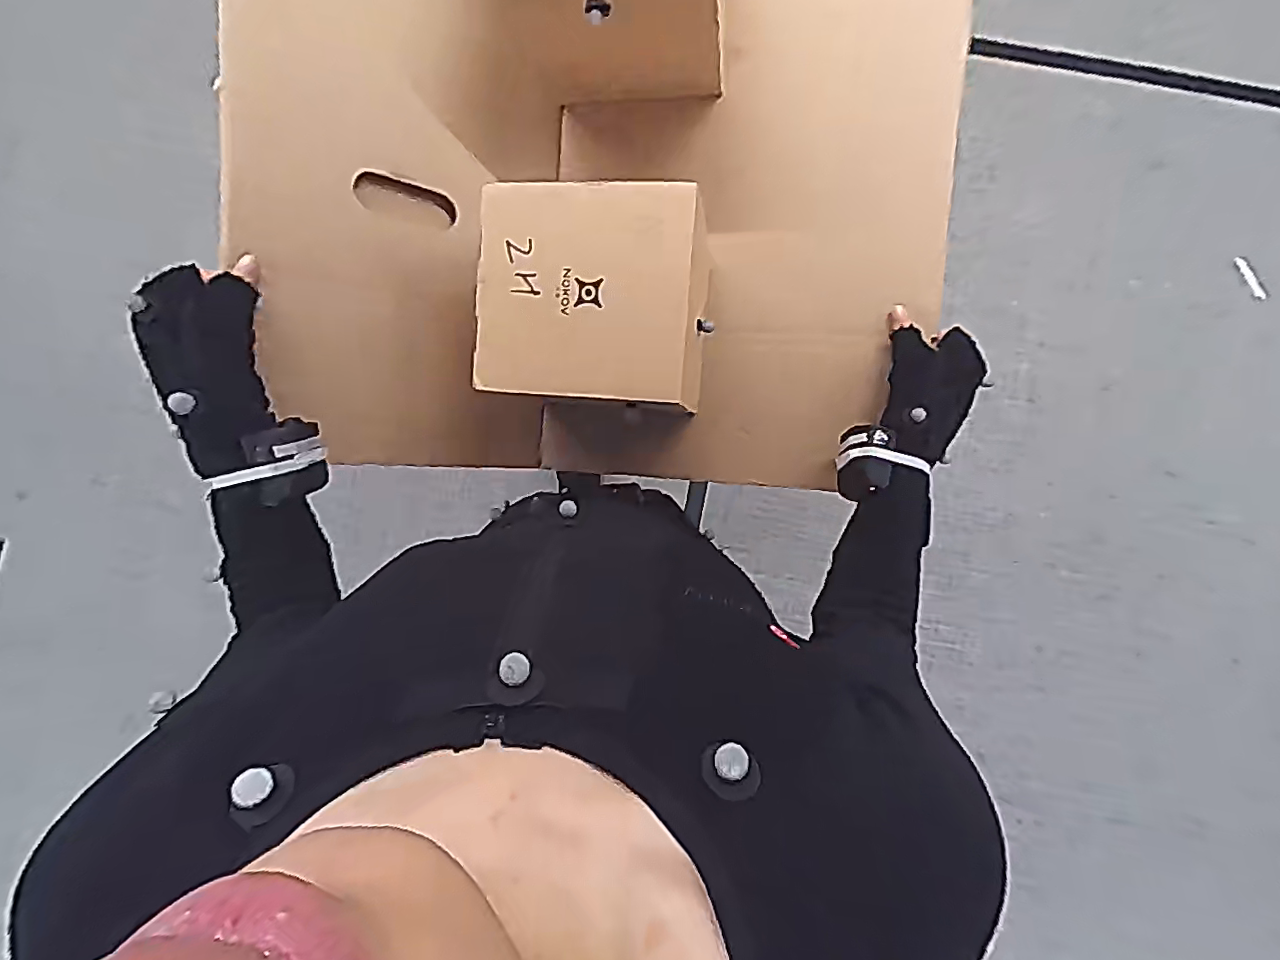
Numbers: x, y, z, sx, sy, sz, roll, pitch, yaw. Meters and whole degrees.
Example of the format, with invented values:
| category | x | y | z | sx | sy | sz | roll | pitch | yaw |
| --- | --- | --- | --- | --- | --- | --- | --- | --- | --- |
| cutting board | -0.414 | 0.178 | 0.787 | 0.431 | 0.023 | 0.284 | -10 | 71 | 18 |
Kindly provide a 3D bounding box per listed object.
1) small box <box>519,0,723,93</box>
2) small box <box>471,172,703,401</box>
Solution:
| category | x | y | z | sx | sy | sz | roll | pitch | yaw |
| --- | --- | --- | --- | --- | --- | --- | --- | --- | --- |
| small box | -0.016 | -0.483 | 0.486 | 0.179 | 0.176 | 0.168 | 4 | 95 | 10 |
| small box | -0.036 | -0.166 | 0.511 | 0.179 | 0.176 | 0.168 | 6 | 95 | 10 |
